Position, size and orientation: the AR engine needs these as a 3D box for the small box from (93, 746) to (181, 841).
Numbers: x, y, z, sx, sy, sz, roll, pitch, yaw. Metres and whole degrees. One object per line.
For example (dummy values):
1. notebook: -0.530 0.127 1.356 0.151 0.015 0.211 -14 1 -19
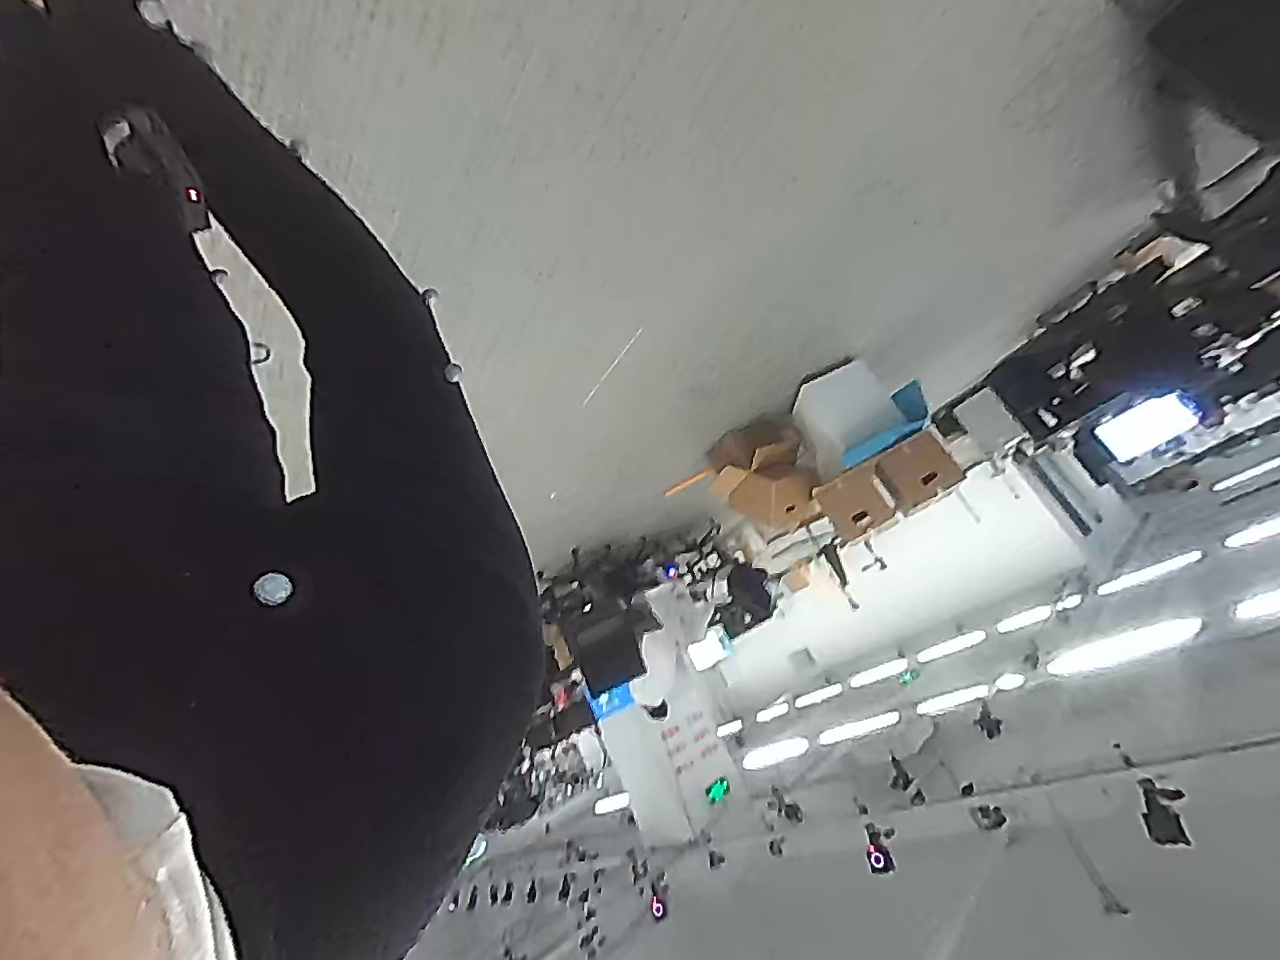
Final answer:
1. small box: -1.416 0.875 1.522 0.168 0.176 0.179 -5 153 -45
